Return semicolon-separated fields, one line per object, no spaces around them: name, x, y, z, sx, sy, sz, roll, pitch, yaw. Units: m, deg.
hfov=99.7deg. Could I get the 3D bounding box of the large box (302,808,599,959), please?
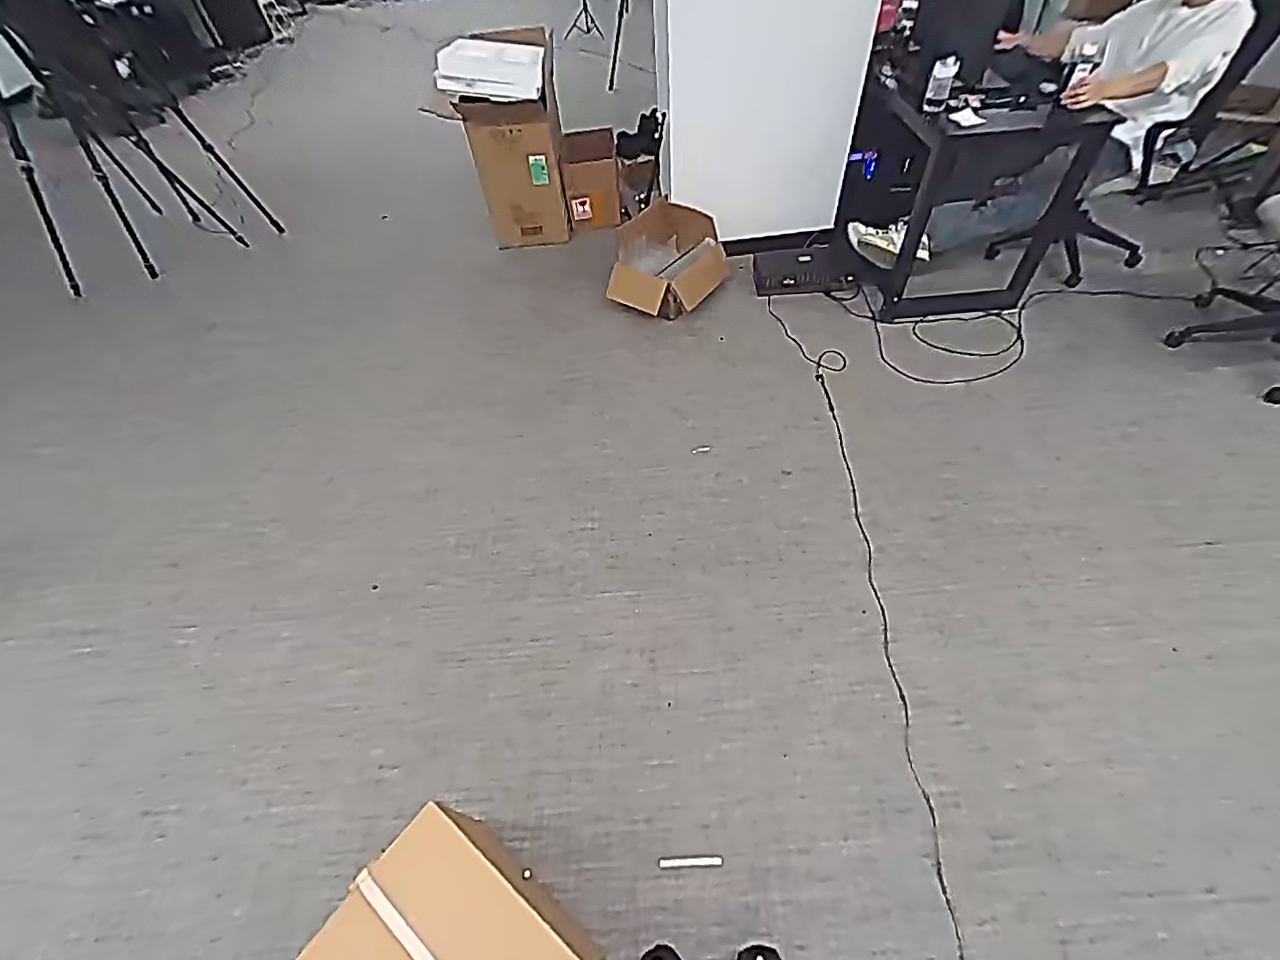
large box;-0.337;0.917;1.027;0.408;0.320;0.320;29;59;24
